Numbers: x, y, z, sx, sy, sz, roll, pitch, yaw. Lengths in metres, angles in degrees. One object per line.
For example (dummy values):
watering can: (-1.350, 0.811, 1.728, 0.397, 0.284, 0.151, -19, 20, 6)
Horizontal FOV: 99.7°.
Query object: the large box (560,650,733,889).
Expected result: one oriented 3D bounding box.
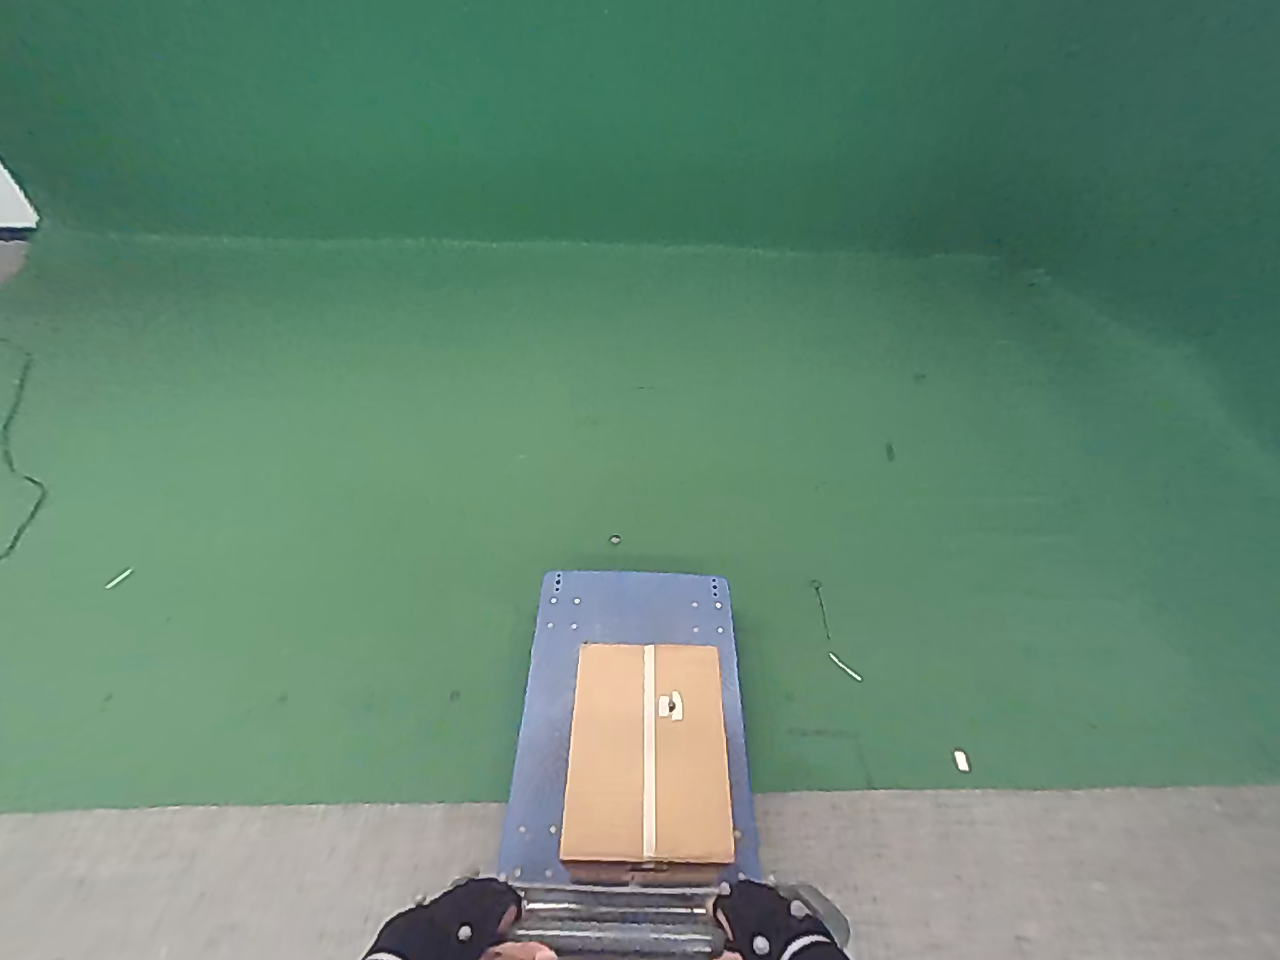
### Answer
large box: (0.007, 0.634, 1.191, 0.320, 0.320, 0.408, 2, 47, -2)
